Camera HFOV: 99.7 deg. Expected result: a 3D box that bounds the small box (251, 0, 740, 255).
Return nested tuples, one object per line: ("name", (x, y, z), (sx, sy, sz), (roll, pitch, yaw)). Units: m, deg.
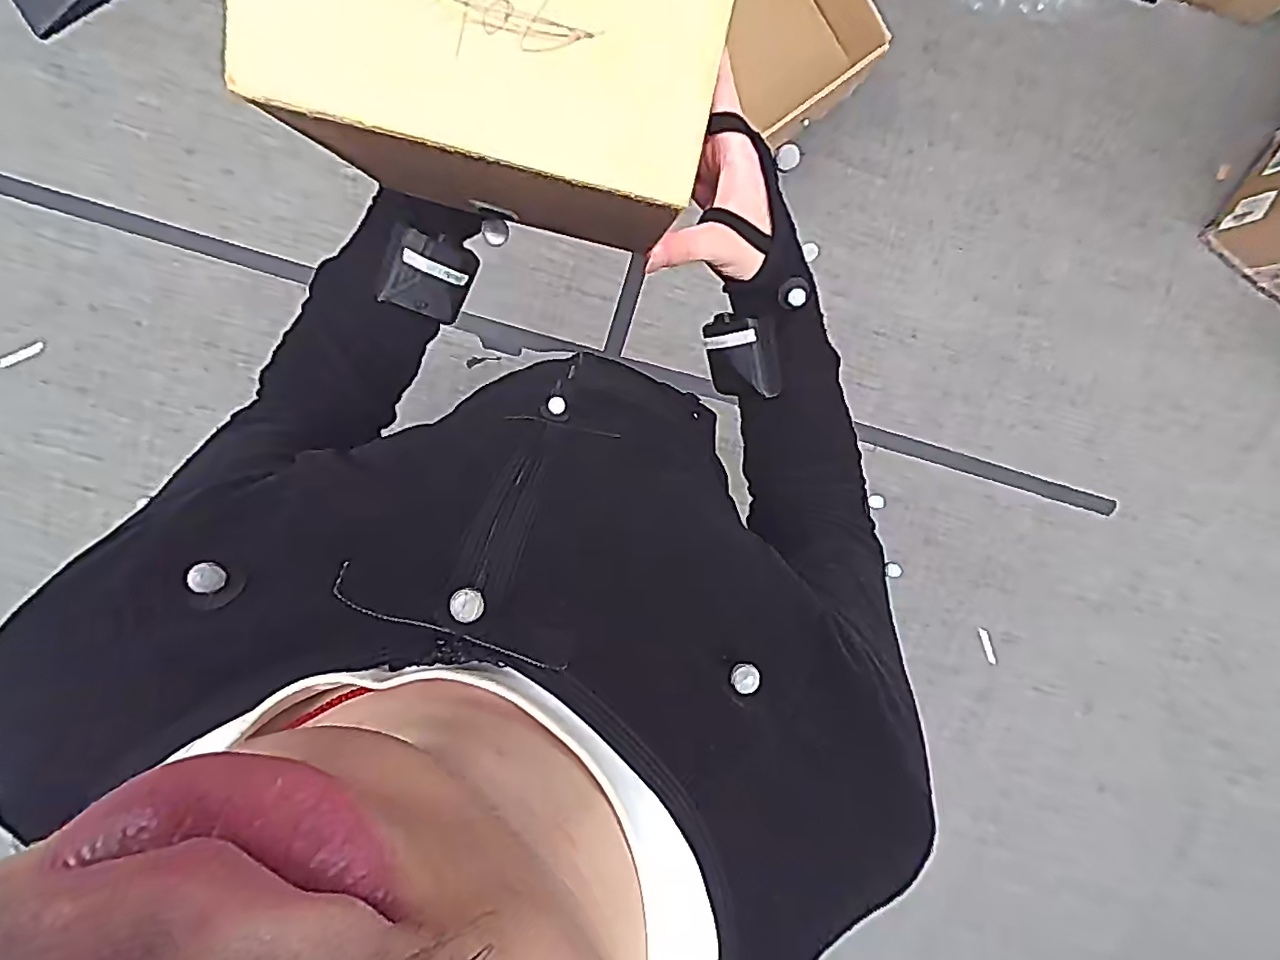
("small box", (-0.047, -0.226, 0.260), (0.168, 0.176, 0.179), (12, 106, -8))
